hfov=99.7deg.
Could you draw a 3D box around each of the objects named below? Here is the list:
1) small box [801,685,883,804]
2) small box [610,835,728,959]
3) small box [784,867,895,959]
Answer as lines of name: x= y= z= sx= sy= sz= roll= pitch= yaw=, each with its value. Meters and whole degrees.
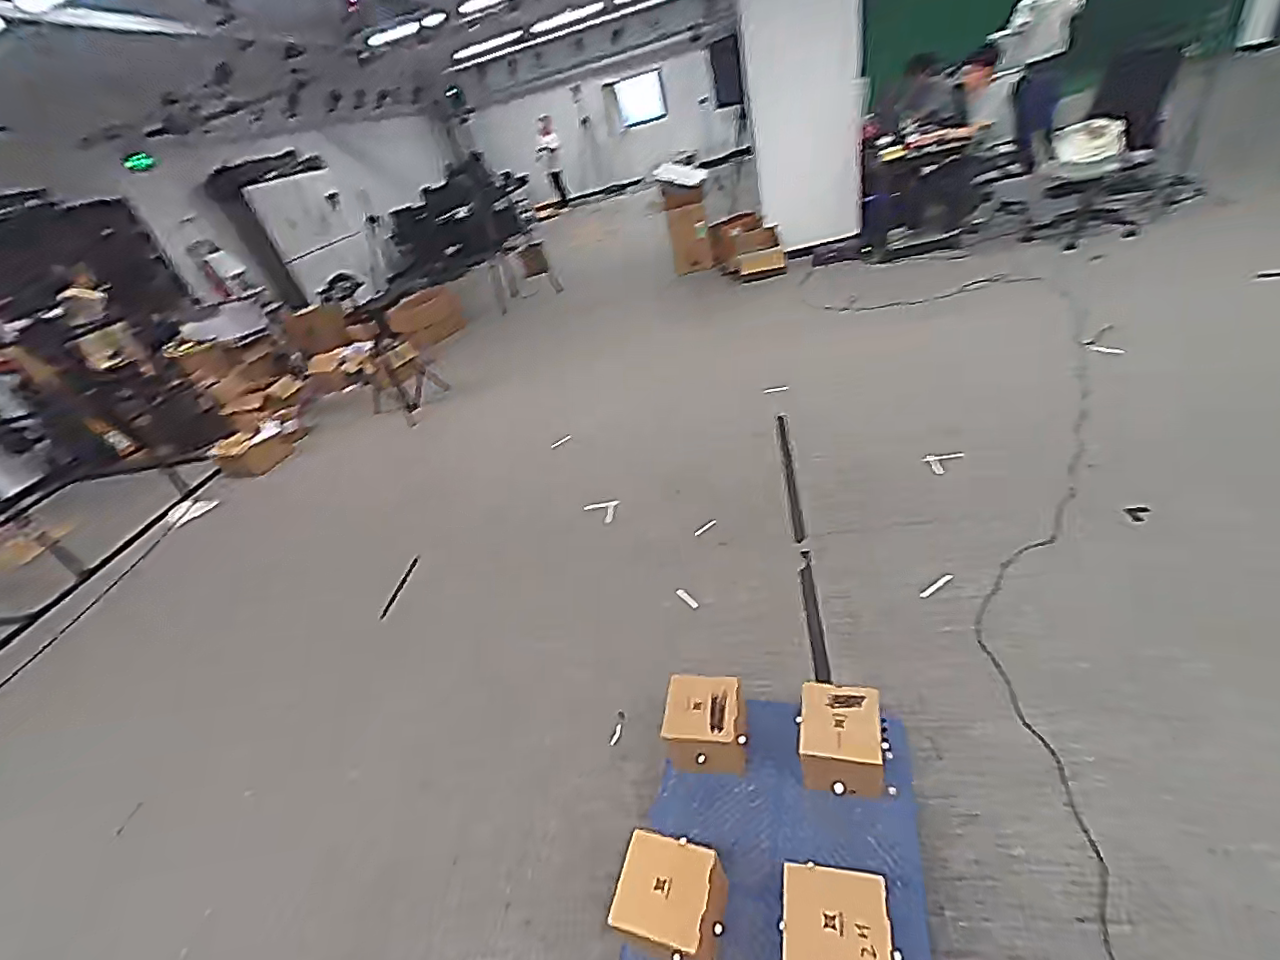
small box: x=0.463 y=0.603 z=1.240 sx=0.168 sy=0.176 sz=0.179 roll=-3 pitch=37 yaw=21
small box: x=0.066 y=0.847 z=1.070 sx=0.179 sy=0.176 sz=0.168 roll=0 pitch=37 yaw=22
small box: x=0.357 y=0.828 z=0.963 sx=0.179 sy=0.176 sz=0.168 roll=-5 pitch=36 yaw=19
